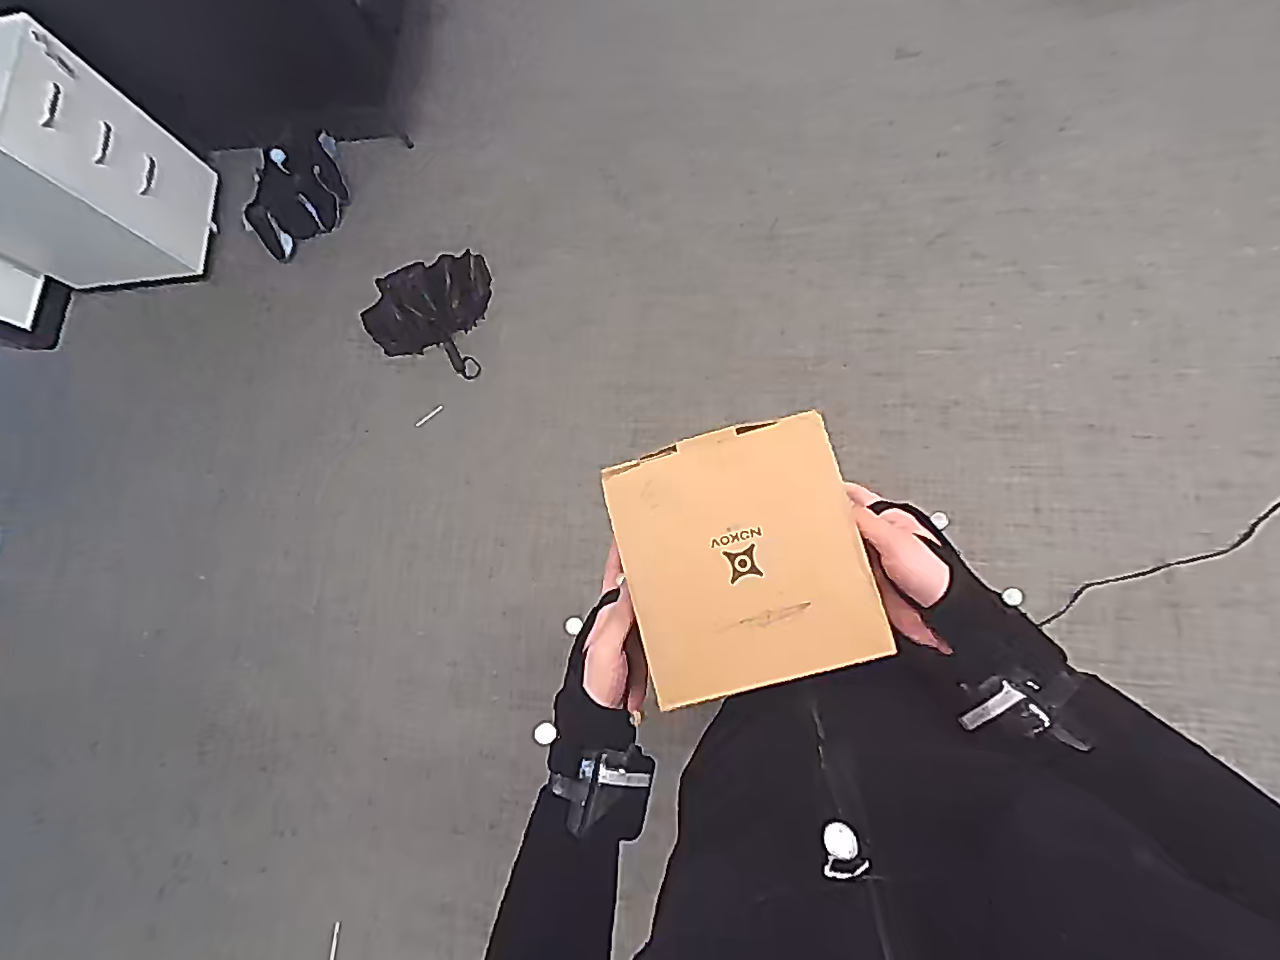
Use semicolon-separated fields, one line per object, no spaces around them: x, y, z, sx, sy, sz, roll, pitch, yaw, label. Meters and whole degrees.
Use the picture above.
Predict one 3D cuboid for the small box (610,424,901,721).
0.083;0.071;0.454;0.168;0.176;0.179;-16;83;5;small box
